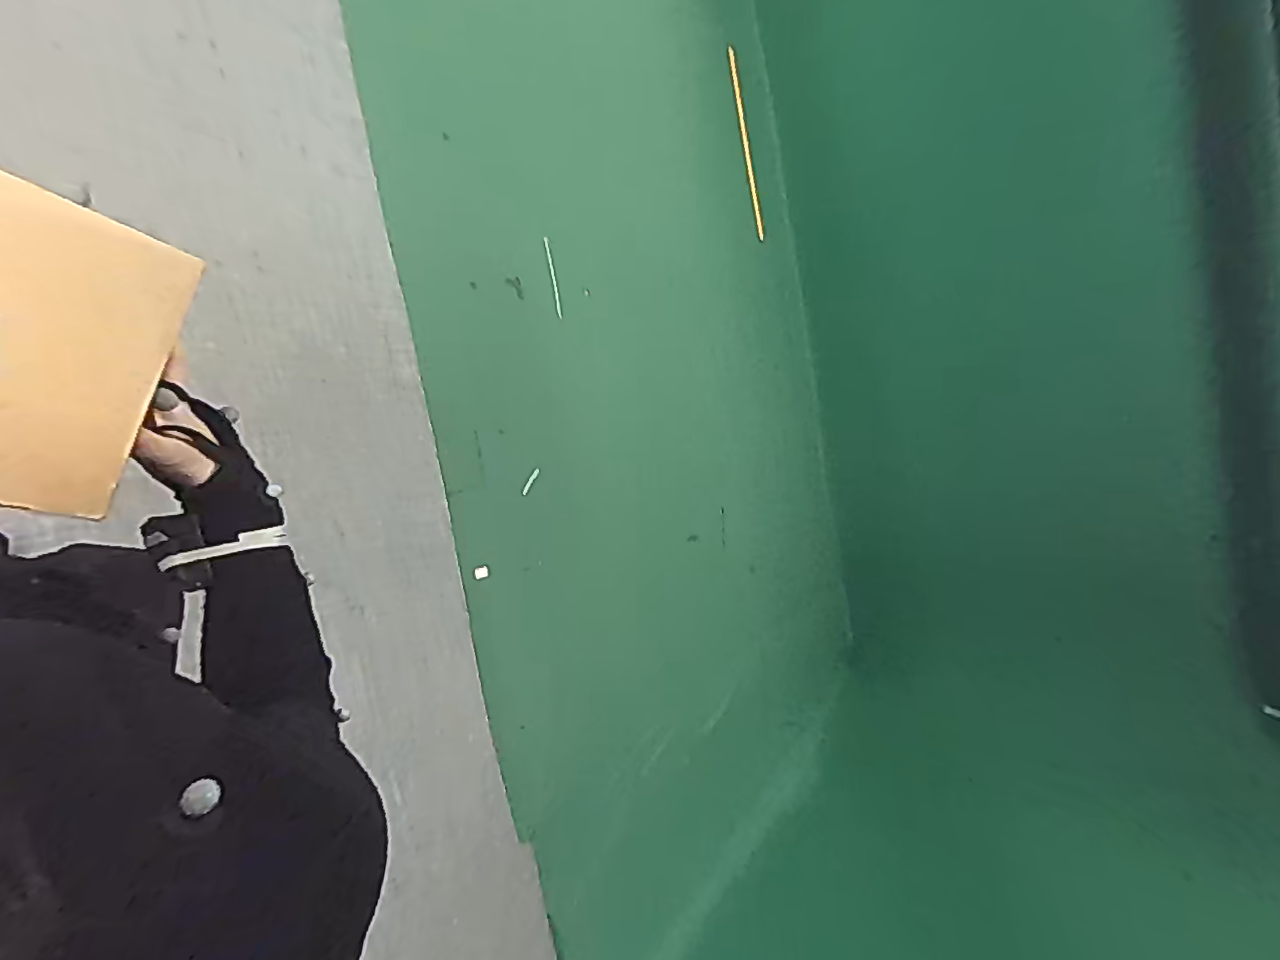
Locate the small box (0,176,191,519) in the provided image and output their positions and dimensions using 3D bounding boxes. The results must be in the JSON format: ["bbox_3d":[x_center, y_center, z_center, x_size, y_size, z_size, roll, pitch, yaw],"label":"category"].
[{"bbox_3d":[-0.418,-0.098,0.324,0.168,0.176,0.179,23,90,-52],"label":"small box"}]
